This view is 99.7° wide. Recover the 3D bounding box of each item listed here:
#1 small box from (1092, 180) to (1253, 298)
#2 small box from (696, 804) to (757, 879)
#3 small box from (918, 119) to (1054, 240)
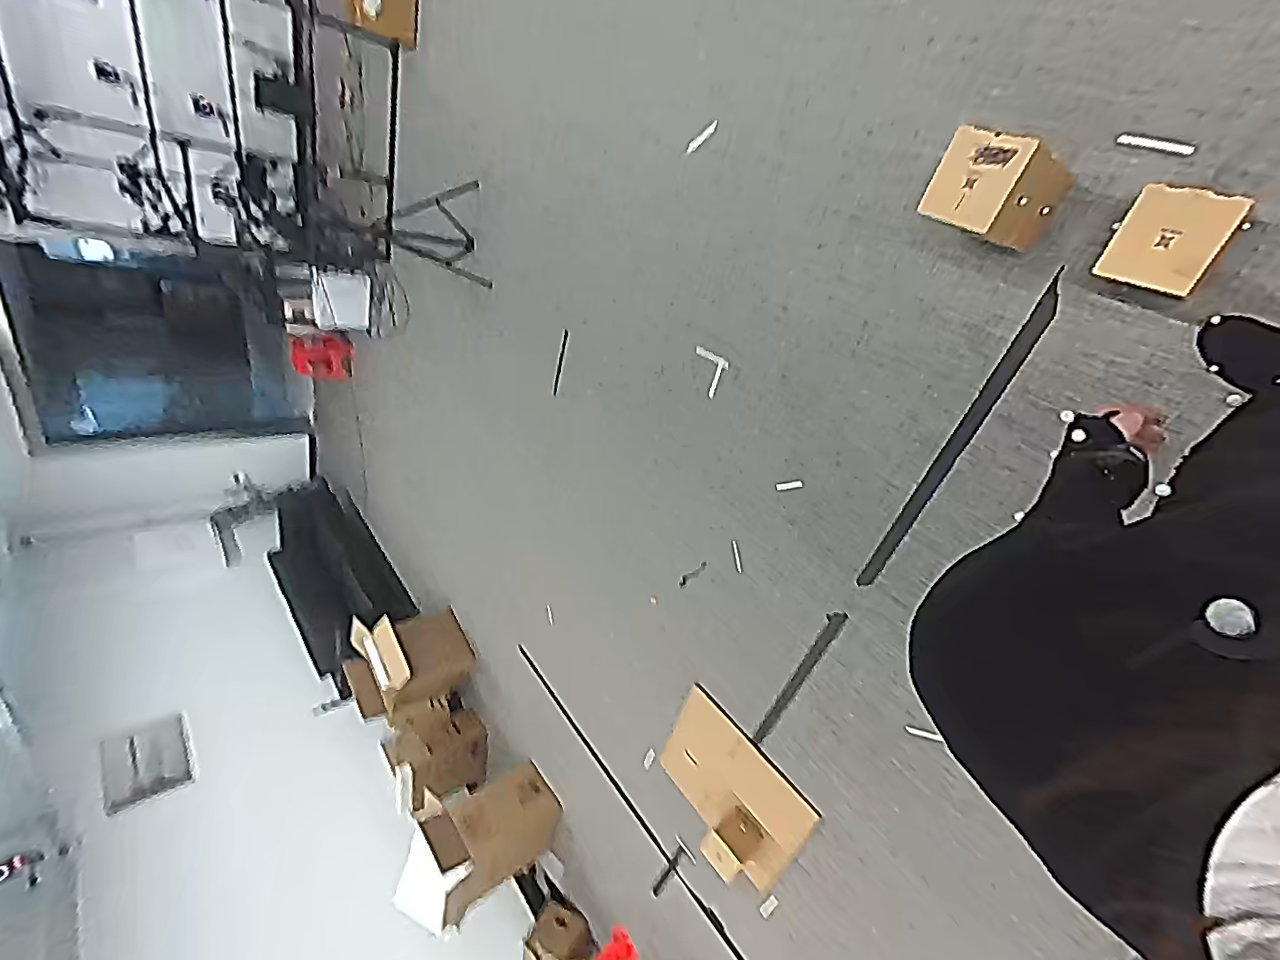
[{"bbox_3d":[1.074,-0.480,1.094,0.168,0.176,0.179,39,125,35],"label":"small box"},{"bbox_3d":[0.371,1.535,2.303,0.168,0.176,0.179,39,125,34],"label":"small box"},{"bbox_3d":[0.748,-0.641,1.165,0.168,0.176,0.179,43,129,33],"label":"small box"}]
